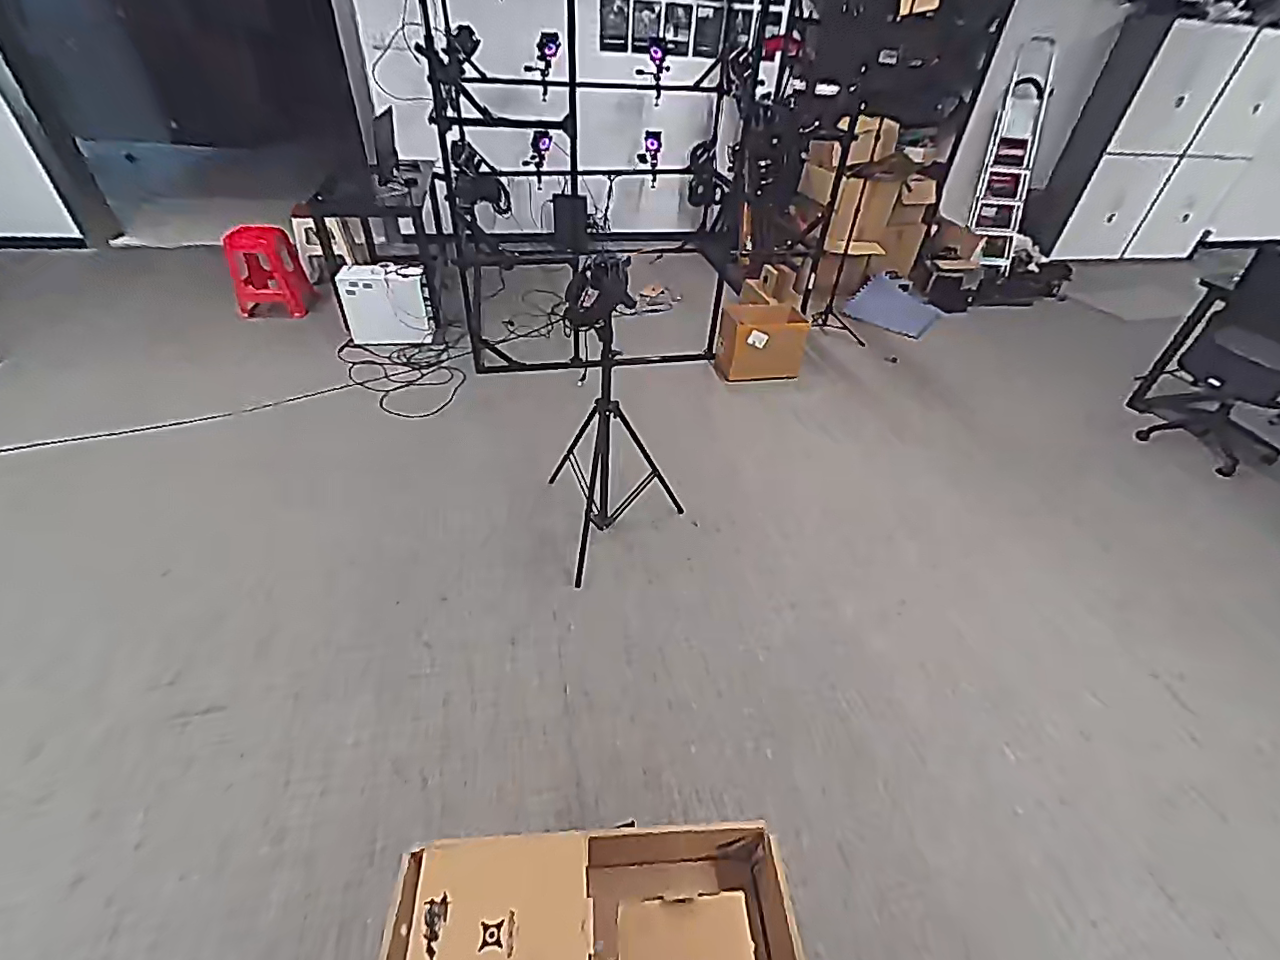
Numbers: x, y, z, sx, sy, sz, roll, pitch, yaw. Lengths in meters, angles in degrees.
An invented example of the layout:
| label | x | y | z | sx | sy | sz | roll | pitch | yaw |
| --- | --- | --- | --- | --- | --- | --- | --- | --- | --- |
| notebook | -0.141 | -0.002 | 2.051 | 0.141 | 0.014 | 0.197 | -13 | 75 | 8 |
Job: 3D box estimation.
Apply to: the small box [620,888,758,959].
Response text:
| label | x | y | z | sx | sy | sz | roll | pitch | yaw |
| --- | --- | --- | --- | --- | --- | --- | --- | --- | --- |
| small box | 0.059 | 0.646 | 0.678 | 0.168 | 0.176 | 0.179 | -2 | 39 | -3 |

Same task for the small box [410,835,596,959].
| label | x | y | z | sx | sy | sz | roll | pitch | yaw |
| --- | --- | --- | --- | --- | --- | --- | --- | --- | --- |
| small box | -0.139 | 0.506 | 0.580 | 0.179 | 0.176 | 0.168 | 0 | 39 | -7 |
